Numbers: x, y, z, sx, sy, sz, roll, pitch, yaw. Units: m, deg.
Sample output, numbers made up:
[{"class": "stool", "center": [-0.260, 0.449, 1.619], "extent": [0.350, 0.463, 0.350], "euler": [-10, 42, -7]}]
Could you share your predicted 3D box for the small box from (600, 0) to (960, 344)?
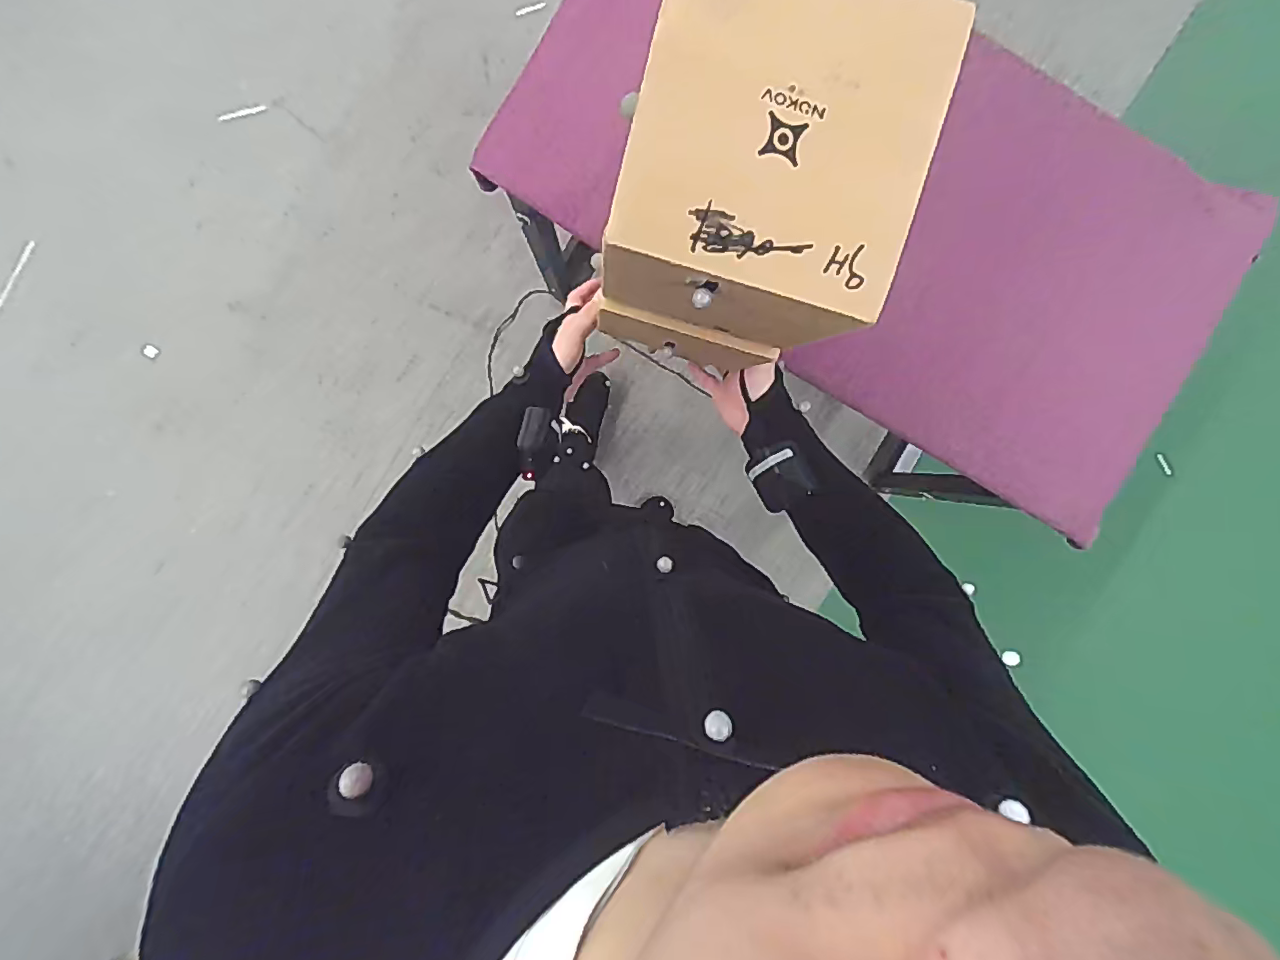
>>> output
[{"class": "small box", "center": [0.071, -0.208, 0.376], "extent": [0.168, 0.176, 0.179], "euler": [15, 97, -6]}]

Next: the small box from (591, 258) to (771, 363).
[{"class": "small box", "center": [0.055, -0.223, 0.539], "extent": [0.168, 0.176, 0.179], "euler": [15, 97, -7]}]
